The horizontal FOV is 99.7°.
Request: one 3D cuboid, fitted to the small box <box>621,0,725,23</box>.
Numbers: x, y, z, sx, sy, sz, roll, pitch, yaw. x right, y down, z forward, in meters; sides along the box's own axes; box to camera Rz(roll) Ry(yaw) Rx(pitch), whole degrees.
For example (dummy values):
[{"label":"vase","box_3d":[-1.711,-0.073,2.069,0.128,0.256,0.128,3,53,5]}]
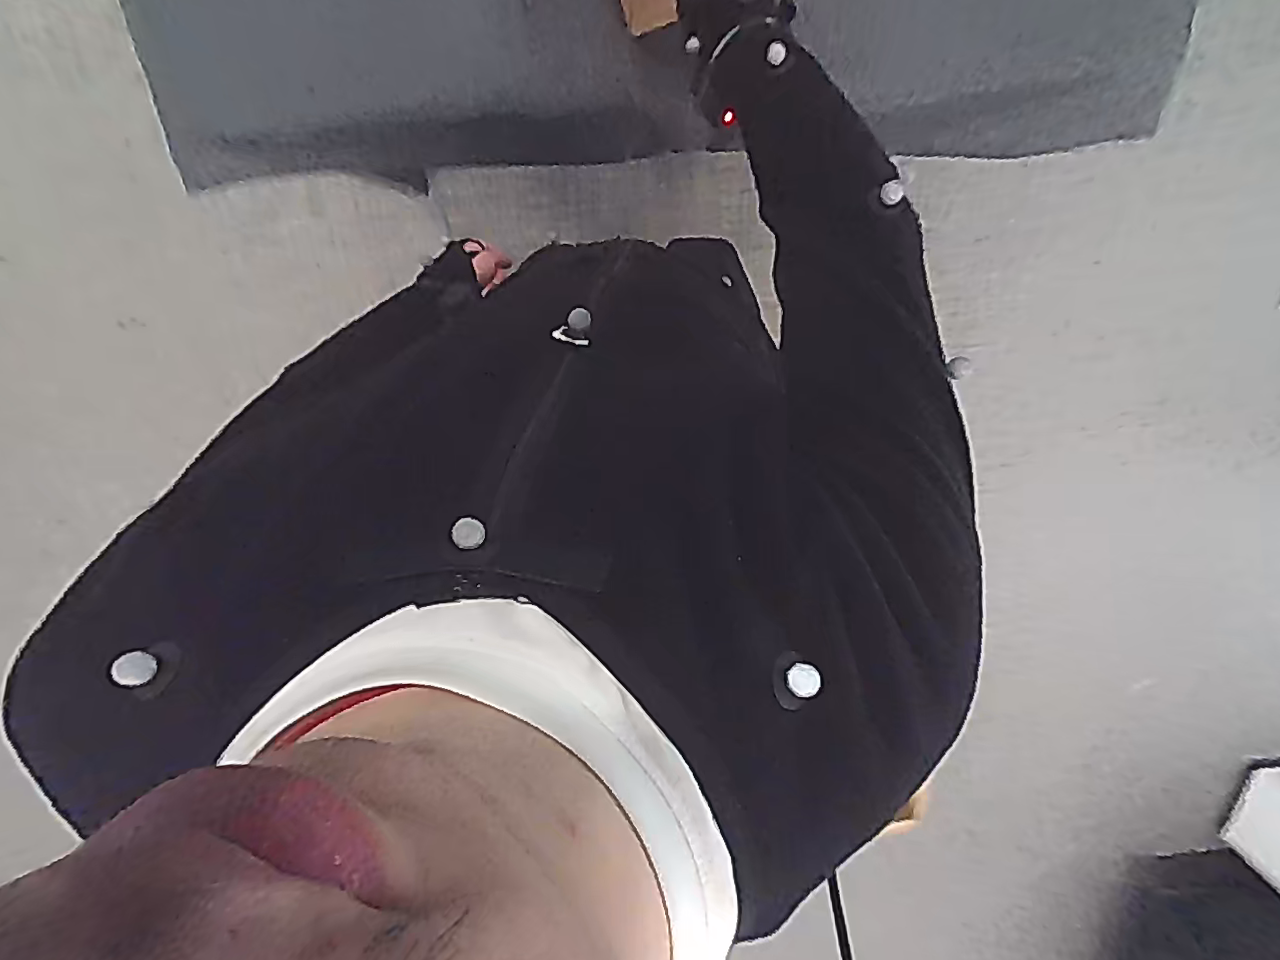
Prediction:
[{"label":"small box","box_3d":[0.047,-0.577,0.510,0.168,0.176,0.179,-17,111,2]}]
